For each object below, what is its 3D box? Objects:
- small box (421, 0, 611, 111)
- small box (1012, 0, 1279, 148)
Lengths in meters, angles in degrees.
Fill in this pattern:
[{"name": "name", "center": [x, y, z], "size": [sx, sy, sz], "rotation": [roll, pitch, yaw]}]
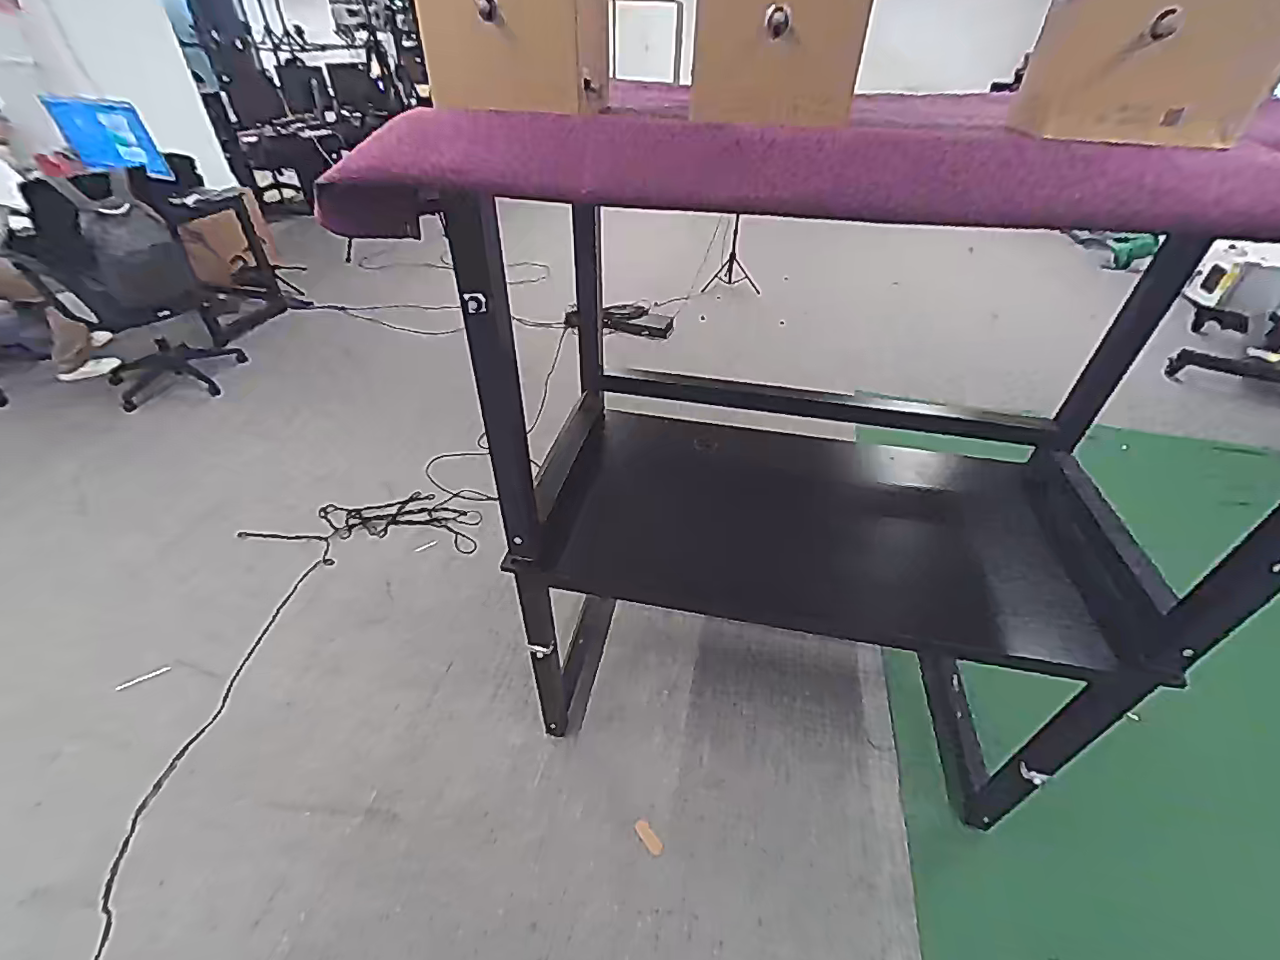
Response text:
[{"name": "small box", "center": [-0.131, -0.531, 0.617], "size": [0.179, 0.176, 0.168], "rotation": [7, 39, 6]}, {"name": "small box", "center": [0.515, -0.443, 0.545], "size": [0.168, 0.176, 0.179], "rotation": [12, 39, 12]}]
